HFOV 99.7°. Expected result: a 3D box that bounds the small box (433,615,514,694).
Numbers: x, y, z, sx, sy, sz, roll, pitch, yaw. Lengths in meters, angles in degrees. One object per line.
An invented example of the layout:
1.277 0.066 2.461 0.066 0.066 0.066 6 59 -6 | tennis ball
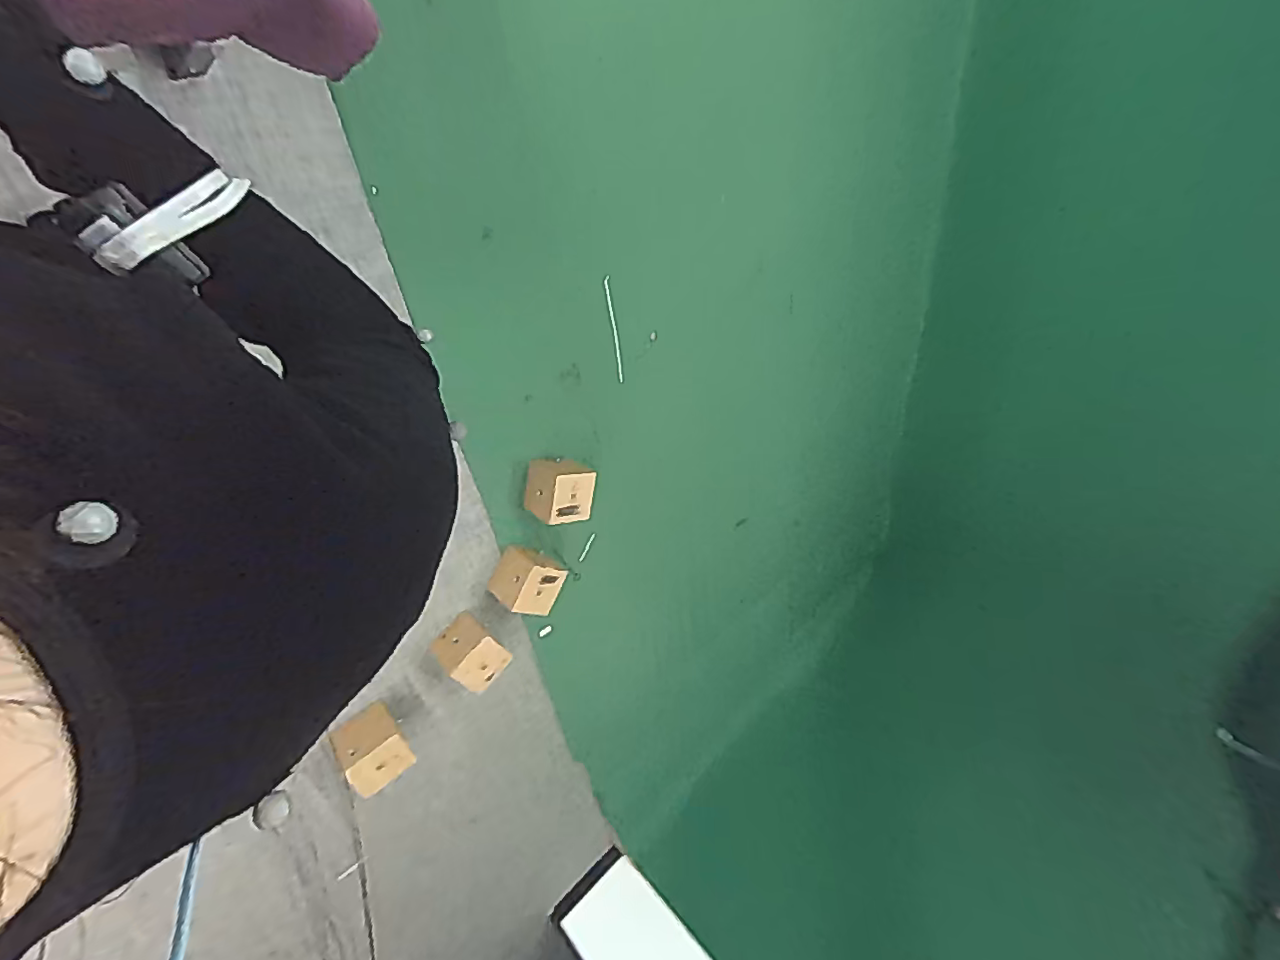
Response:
-0.572 0.589 1.849 0.168 0.176 0.179 -47 135 -18 | small box

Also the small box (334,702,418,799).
-0.841 0.849 1.711 0.179 0.176 0.168 -33 131 -28 | small box

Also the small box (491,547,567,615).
-0.396 0.354 1.906 0.168 0.176 0.179 23 94 -48 | small box
